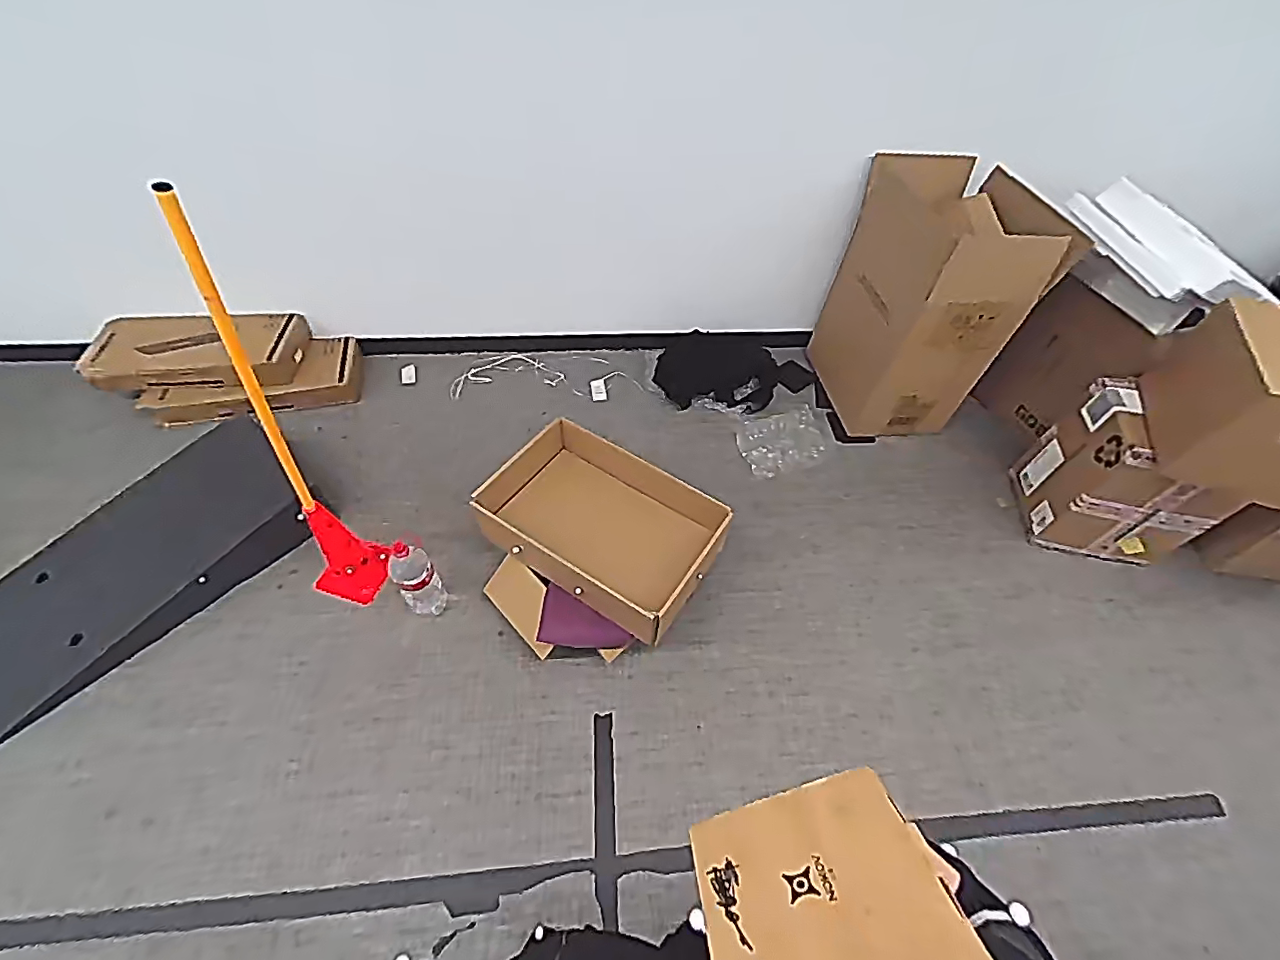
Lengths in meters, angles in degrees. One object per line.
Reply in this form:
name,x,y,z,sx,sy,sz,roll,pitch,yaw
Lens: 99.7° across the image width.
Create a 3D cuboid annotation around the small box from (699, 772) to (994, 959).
small box,0.164,0.385,0.436,0.179,0.176,0.168,-19,13,2
